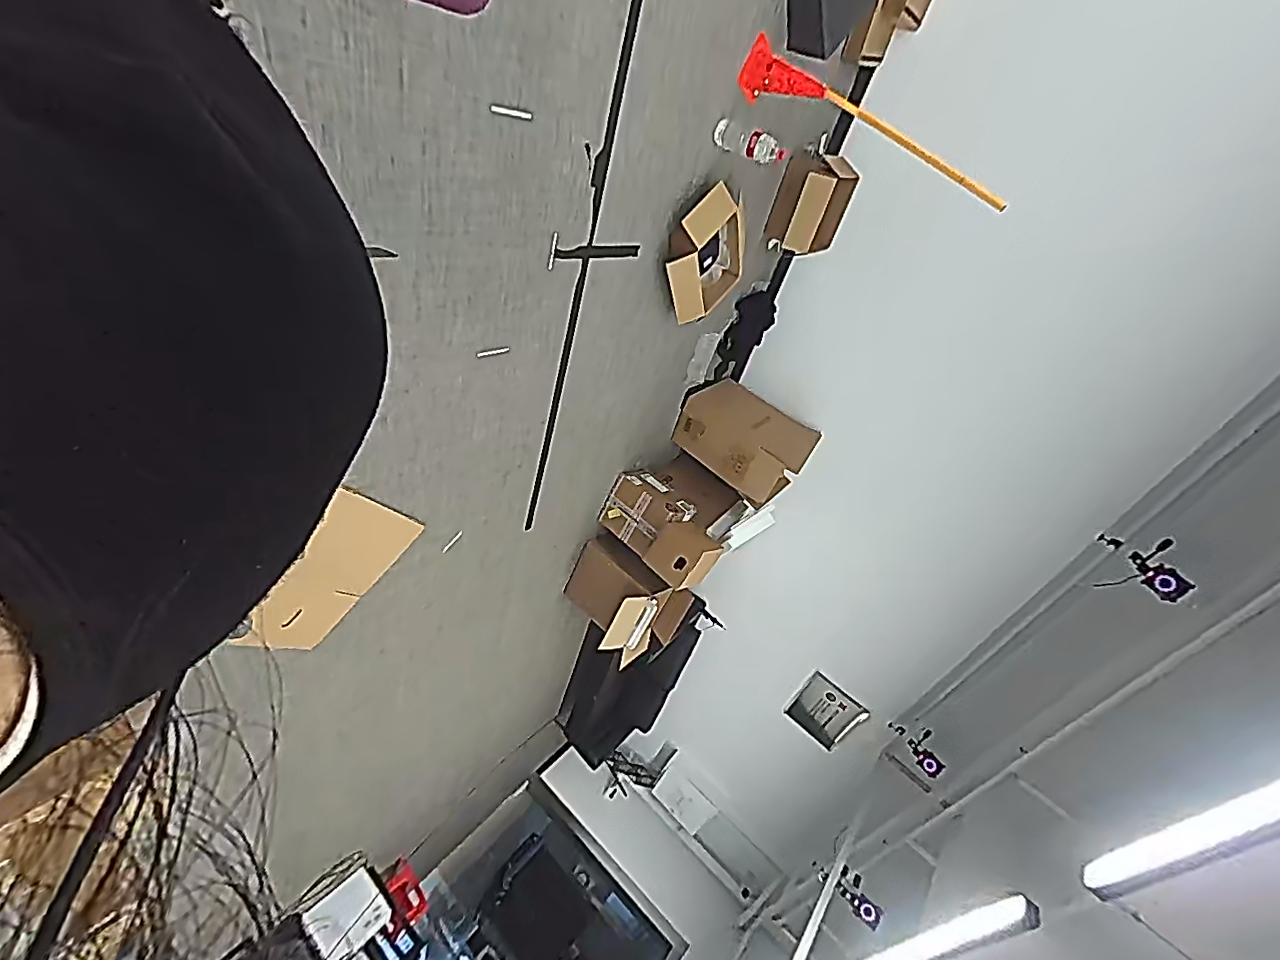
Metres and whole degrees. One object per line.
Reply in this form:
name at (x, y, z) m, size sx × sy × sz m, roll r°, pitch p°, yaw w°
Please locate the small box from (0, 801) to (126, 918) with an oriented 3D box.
small box at (-1.517, 0.990, 1.423) m, size 0.168 × 0.176 × 0.179 m, roll -30°, pitch 149°, yaw -43°
